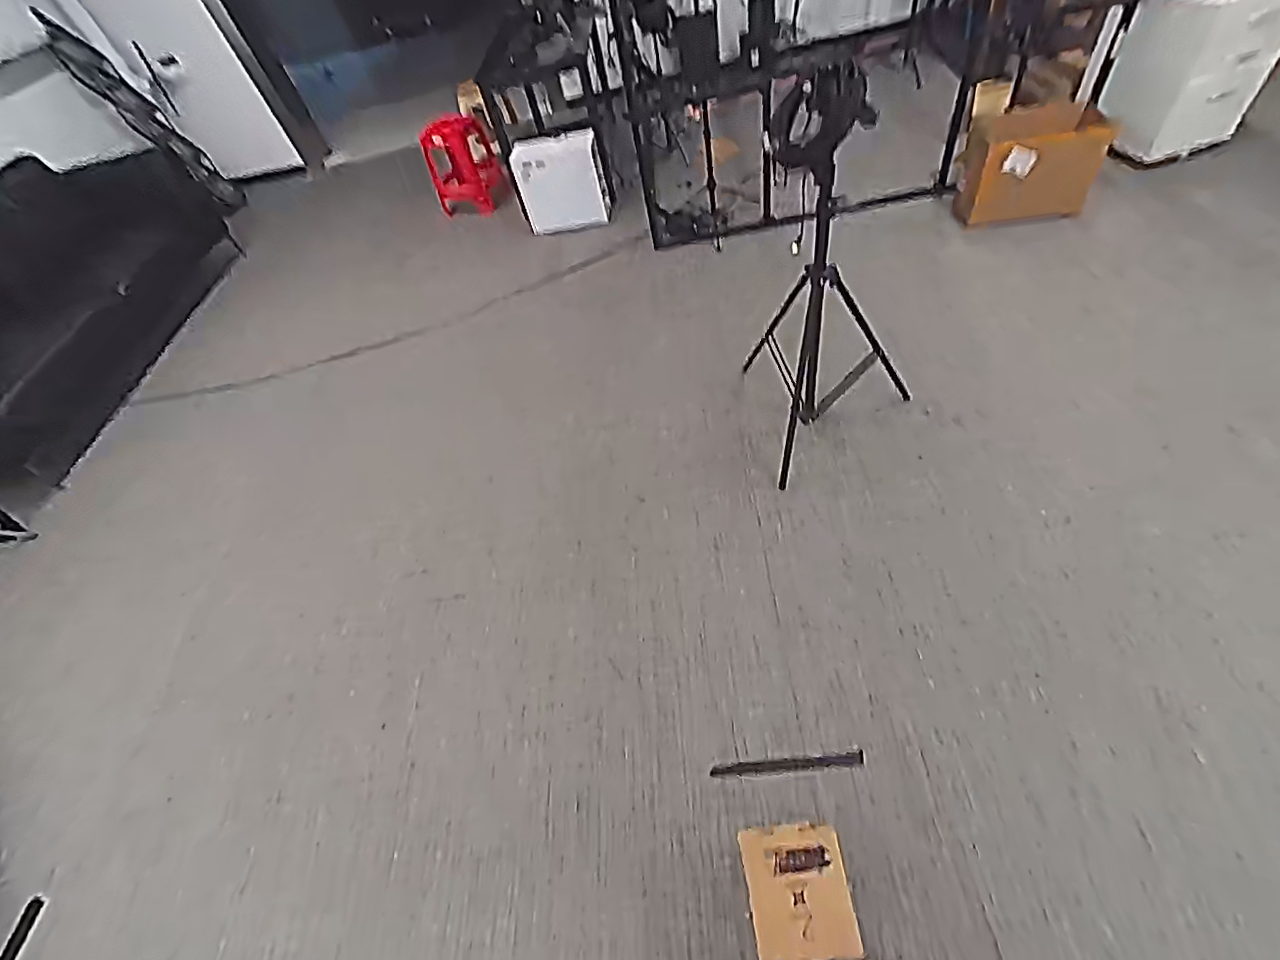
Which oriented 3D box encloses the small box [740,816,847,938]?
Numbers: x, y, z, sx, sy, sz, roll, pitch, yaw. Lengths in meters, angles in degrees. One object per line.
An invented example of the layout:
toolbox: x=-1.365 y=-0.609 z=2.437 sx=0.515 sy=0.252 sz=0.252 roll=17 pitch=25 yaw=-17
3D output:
small box: x=0.303 y=0.808 z=1.101 sx=0.168 sy=0.176 sz=0.179 roll=-12 pitch=51 yaw=4
